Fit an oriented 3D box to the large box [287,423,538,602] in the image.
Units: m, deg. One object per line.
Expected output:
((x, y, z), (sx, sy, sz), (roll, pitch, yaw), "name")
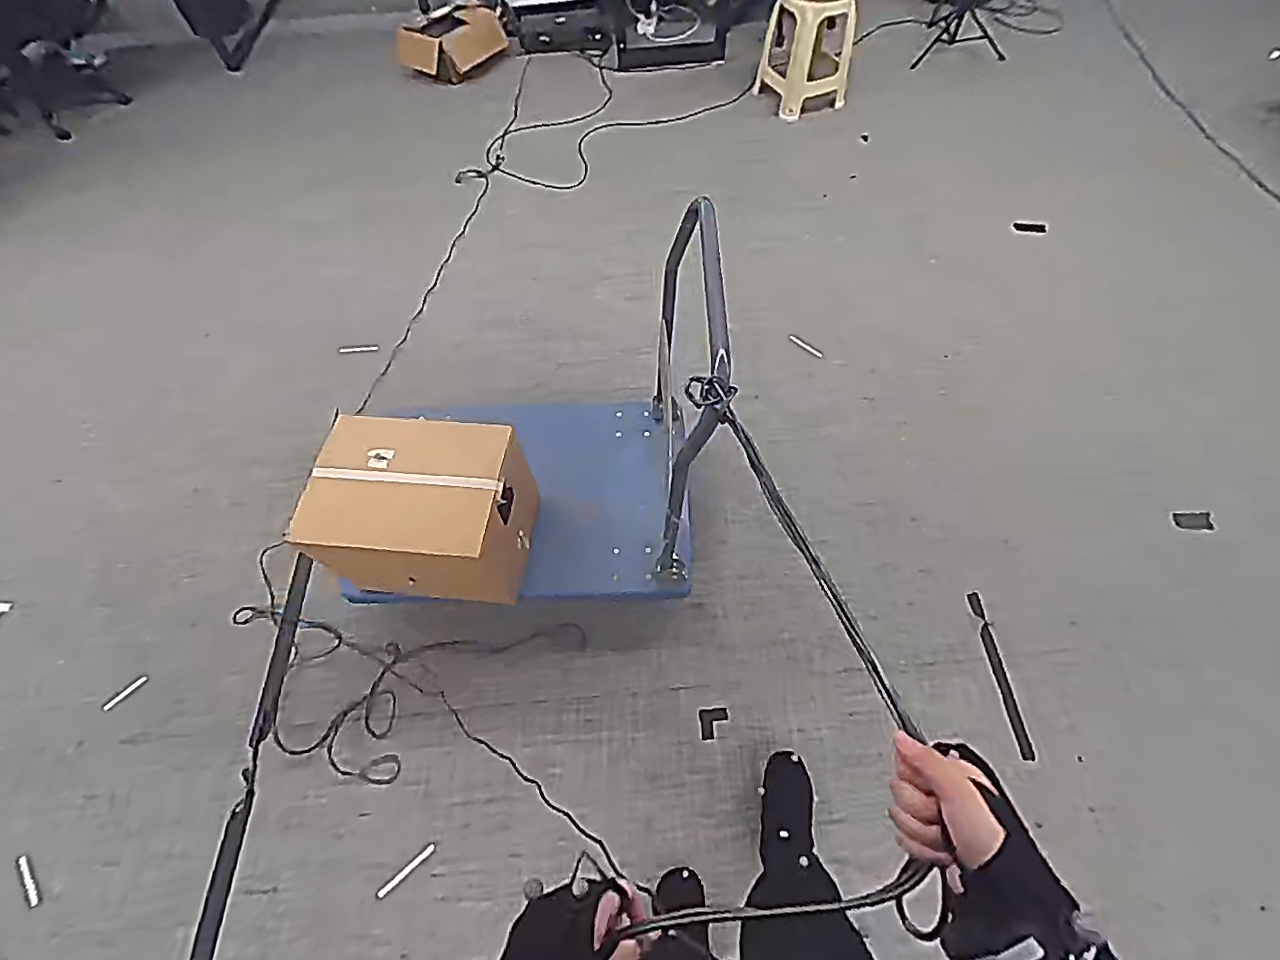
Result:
((-0.481, 0.084, 1.251), (0.408, 0.320, 0.320), (3, 60, 5), "large box")
